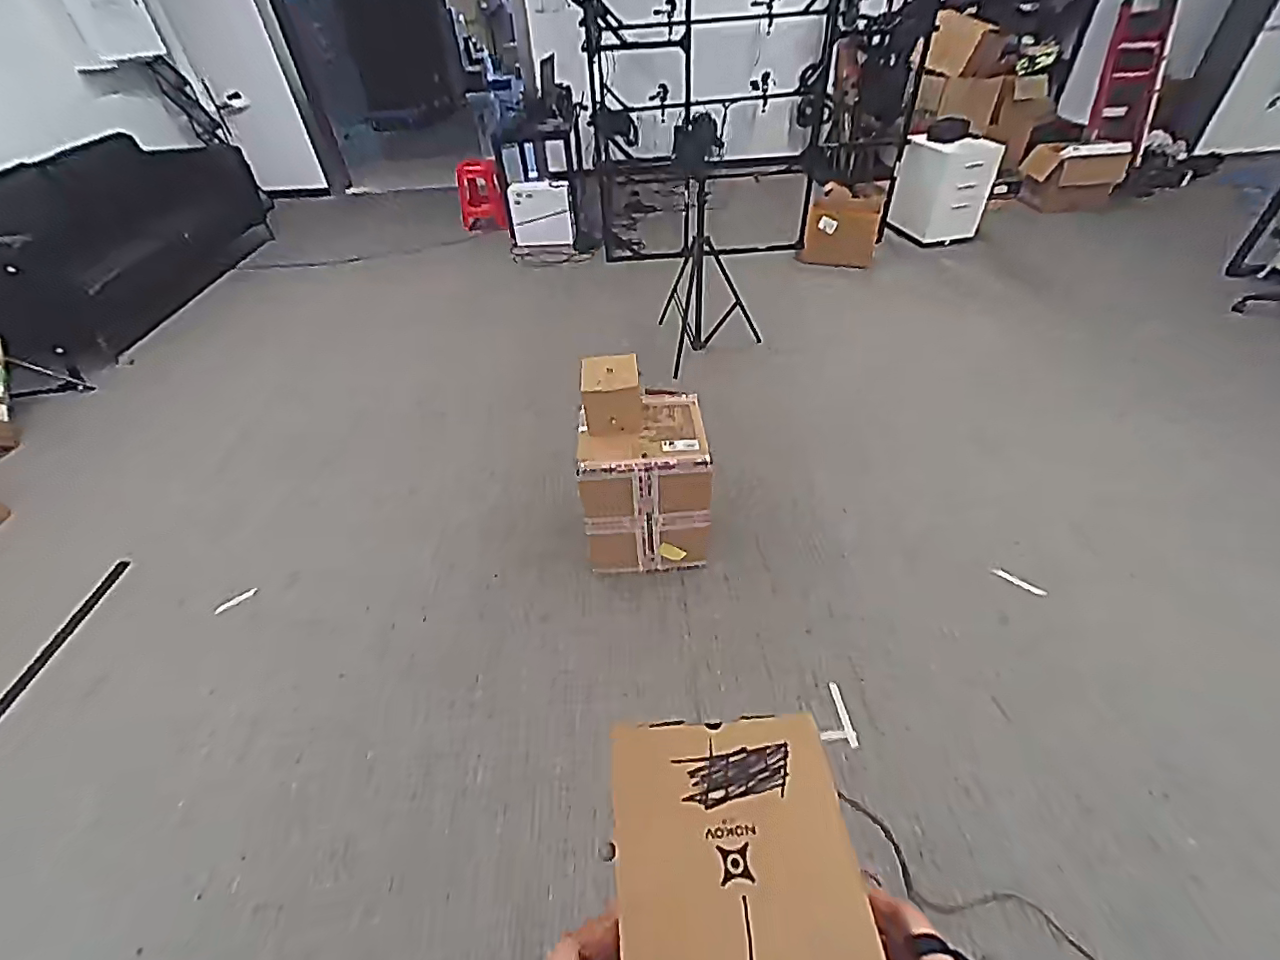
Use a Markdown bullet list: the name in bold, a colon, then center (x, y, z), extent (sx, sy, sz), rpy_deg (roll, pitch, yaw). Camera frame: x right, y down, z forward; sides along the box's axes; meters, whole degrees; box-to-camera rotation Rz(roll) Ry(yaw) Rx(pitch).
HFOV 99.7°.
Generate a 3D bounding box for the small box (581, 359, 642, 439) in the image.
- **small box**: center (-0.082, -0.244, 1.636), extent (0.168, 0.176, 0.179), rpy_deg (-5, 45, 1)
